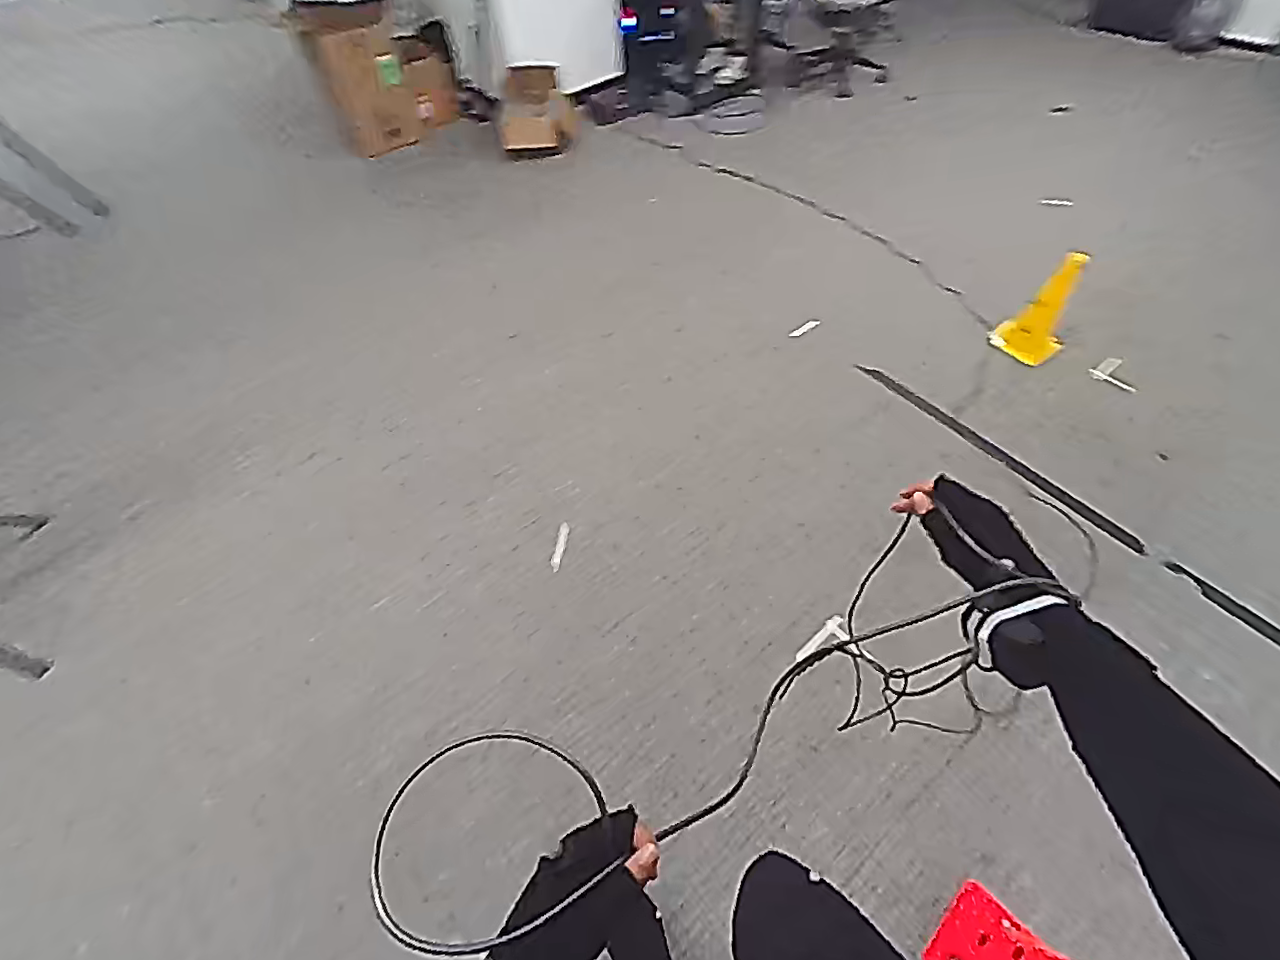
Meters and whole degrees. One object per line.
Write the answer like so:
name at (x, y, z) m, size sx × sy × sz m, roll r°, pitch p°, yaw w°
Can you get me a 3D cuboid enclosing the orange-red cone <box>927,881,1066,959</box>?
orange-red cone at (0.678, 0.835, 0.903) m, size 0.198 × 0.360 × 0.199 m, roll -39°, pitch 62°, yaw -21°
